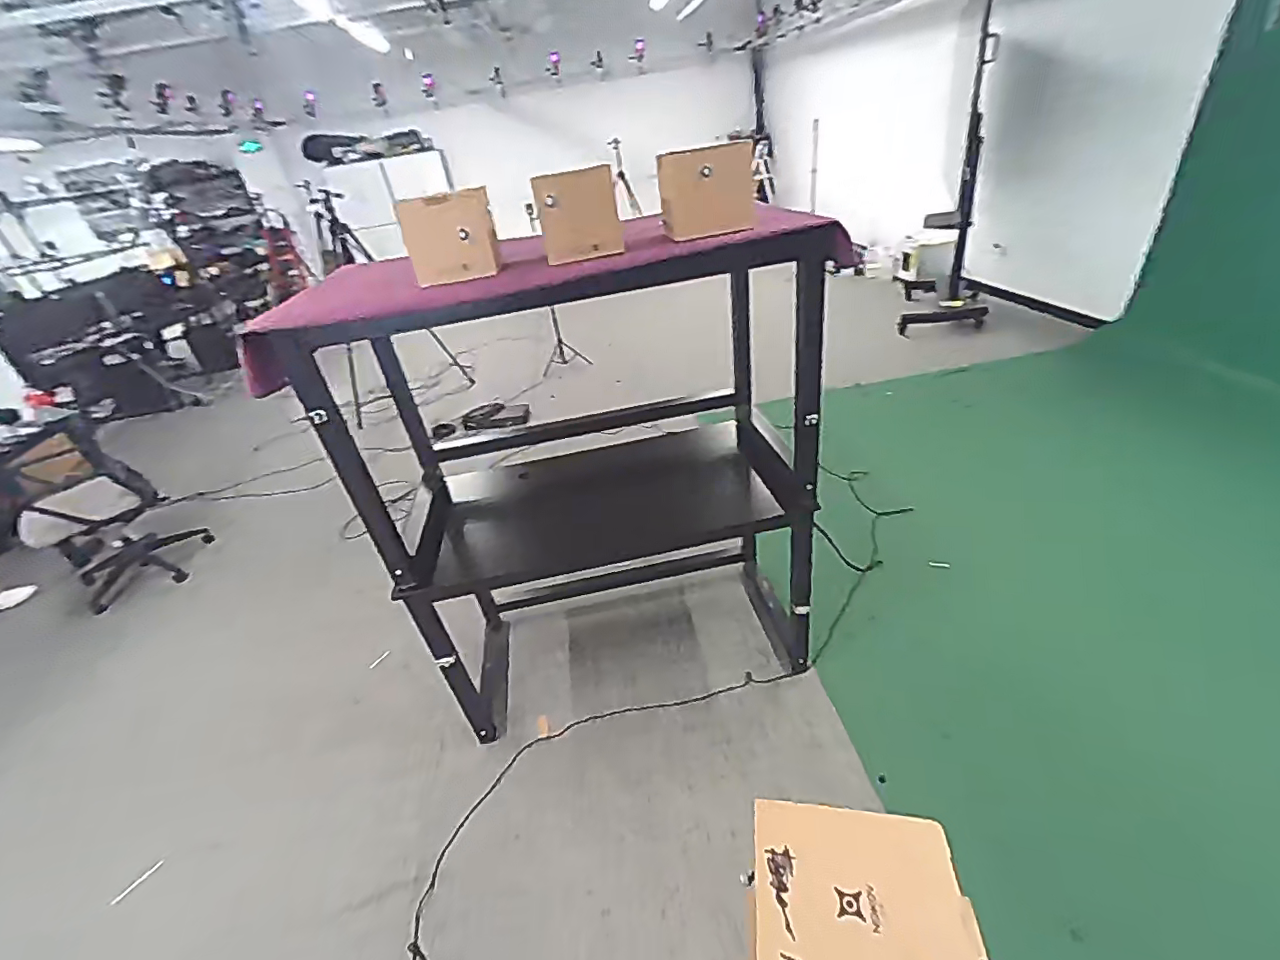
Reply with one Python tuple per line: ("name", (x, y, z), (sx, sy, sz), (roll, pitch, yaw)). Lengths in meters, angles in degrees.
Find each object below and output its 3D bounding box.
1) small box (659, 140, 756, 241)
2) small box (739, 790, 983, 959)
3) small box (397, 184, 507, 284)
("small box", (0.148, -0.636, 1.196), (0.179, 0.176, 0.168), (-11, 31, -3))
("small box", (0.183, 0.420, 0.487), (0.179, 0.176, 0.168), (3, 28, 9))
("small box", (-0.393, -0.530, 1.168), (0.168, 0.176, 0.179), (-9, 31, -2))
